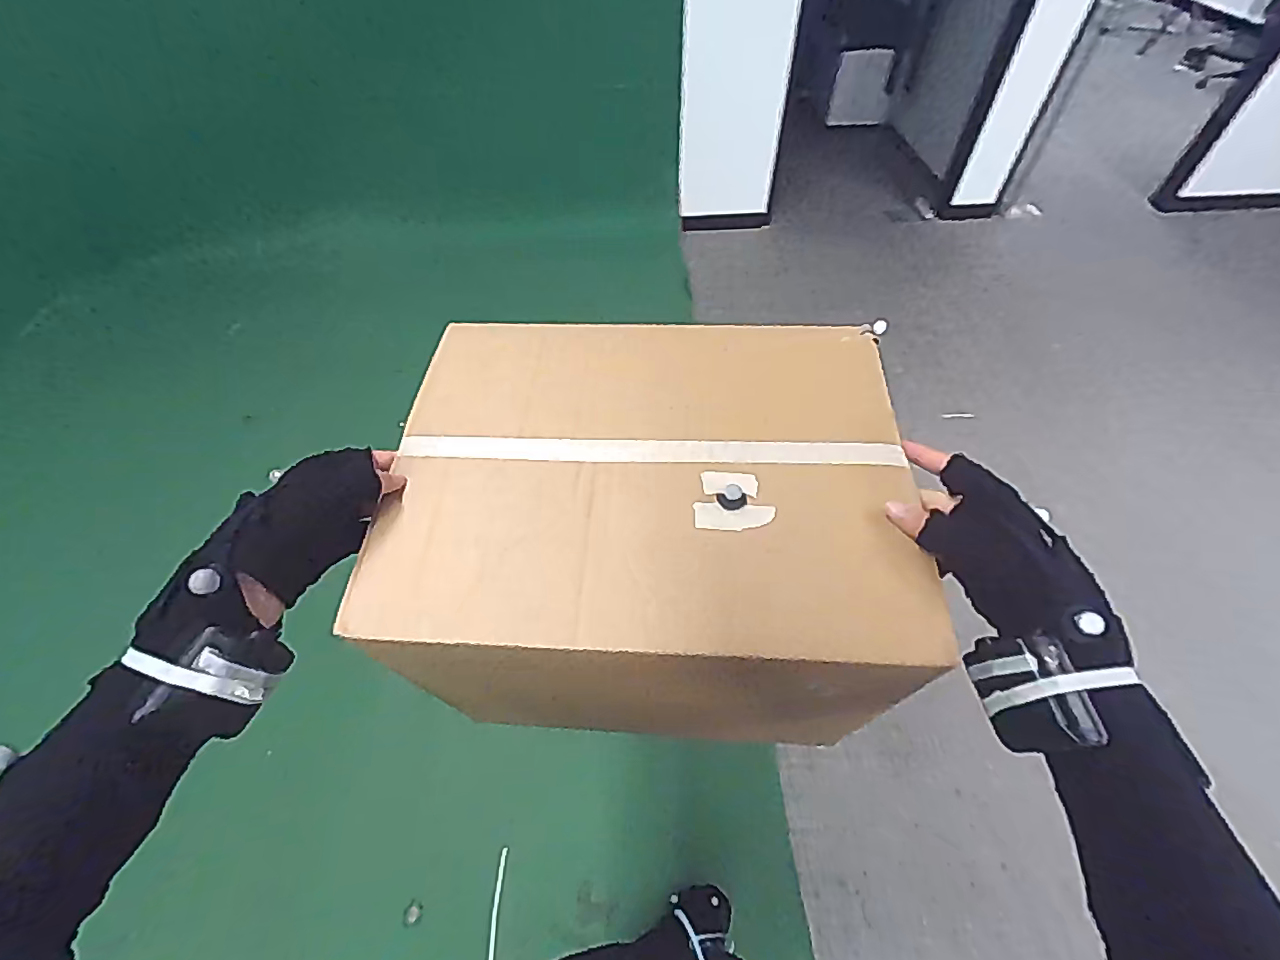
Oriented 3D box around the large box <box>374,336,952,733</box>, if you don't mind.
[{"bbox_3d":[0.023,0.068,0.571,0.408,0.320,0.320,2,57,5],"label":"large box"}]
